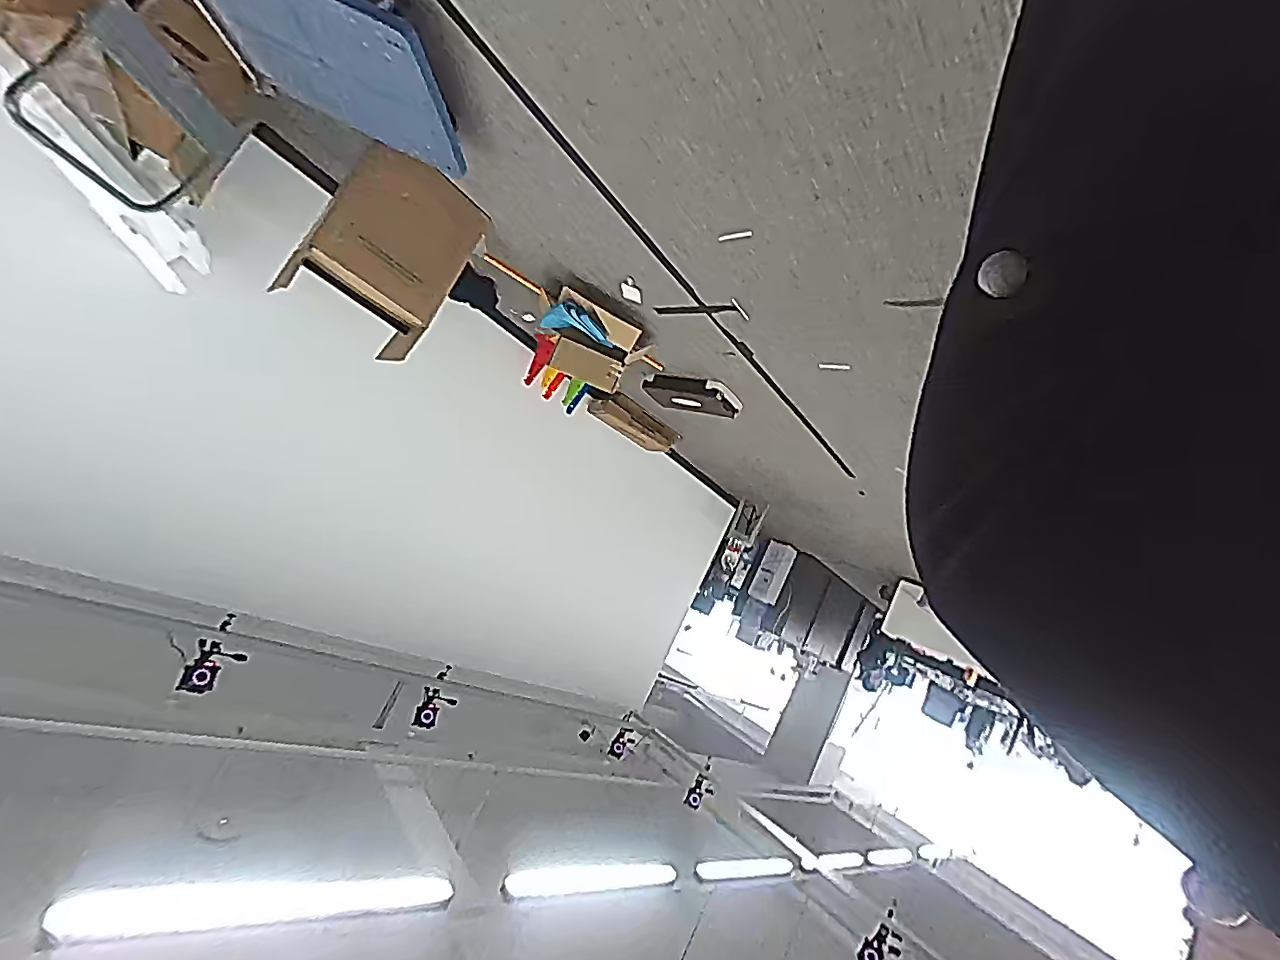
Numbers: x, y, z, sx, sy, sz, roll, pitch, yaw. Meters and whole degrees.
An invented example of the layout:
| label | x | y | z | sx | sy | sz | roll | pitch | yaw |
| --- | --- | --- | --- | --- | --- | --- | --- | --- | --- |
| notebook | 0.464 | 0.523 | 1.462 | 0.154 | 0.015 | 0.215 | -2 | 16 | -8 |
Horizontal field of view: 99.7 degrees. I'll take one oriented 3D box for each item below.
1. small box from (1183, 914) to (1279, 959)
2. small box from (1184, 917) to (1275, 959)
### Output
| label | x | y | z | sx | sy | sz | roll | pitch | yaw |
| --- | --- | --- | --- | --- | --- | --- | --- | --- | --- |
| small box | 1.628 | 1.341 | 1.485 | 0.168 | 0.176 | 0.179 | 16 | 166 | 47 |
| small box | 1.487 | 1.249 | 1.351 | 0.168 | 0.176 | 0.179 | 16 | 166 | 47 |
